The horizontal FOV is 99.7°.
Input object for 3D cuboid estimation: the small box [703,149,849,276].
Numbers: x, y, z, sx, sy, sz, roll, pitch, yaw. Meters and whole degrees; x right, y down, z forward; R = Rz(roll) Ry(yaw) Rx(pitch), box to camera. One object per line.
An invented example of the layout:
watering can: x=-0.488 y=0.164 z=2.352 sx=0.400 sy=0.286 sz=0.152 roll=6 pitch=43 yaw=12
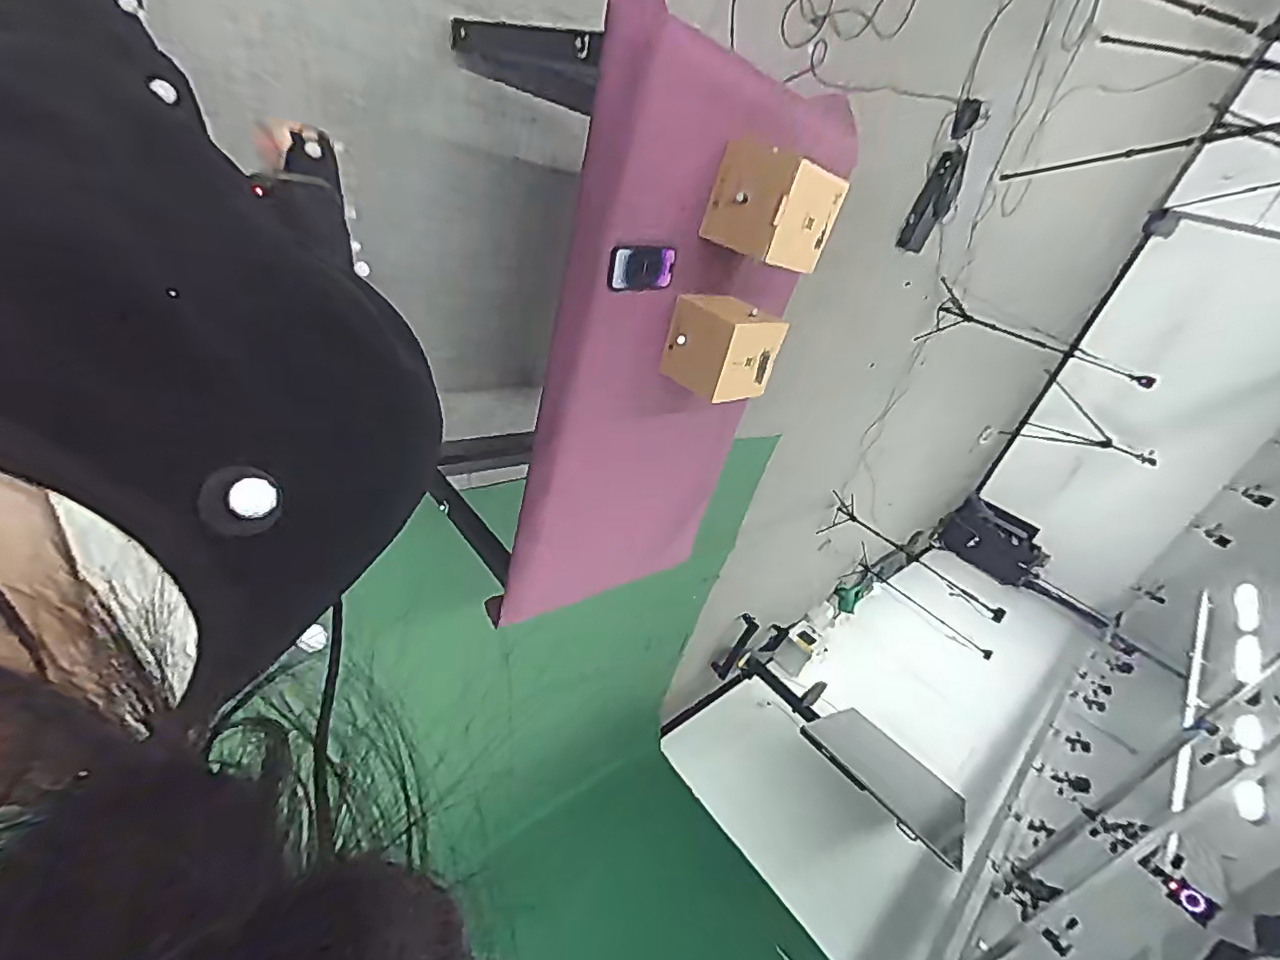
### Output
small box: x=0.247 y=-0.499 z=1.010 sx=0.179 sy=0.176 sz=0.168 roll=-9 pitch=127 yaw=-43

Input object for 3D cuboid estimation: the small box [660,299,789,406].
small box: x=0.173 y=-0.272 z=1.133 sx=0.179 sy=0.176 sz=0.168 roll=-14 pitch=131 yaw=-40
